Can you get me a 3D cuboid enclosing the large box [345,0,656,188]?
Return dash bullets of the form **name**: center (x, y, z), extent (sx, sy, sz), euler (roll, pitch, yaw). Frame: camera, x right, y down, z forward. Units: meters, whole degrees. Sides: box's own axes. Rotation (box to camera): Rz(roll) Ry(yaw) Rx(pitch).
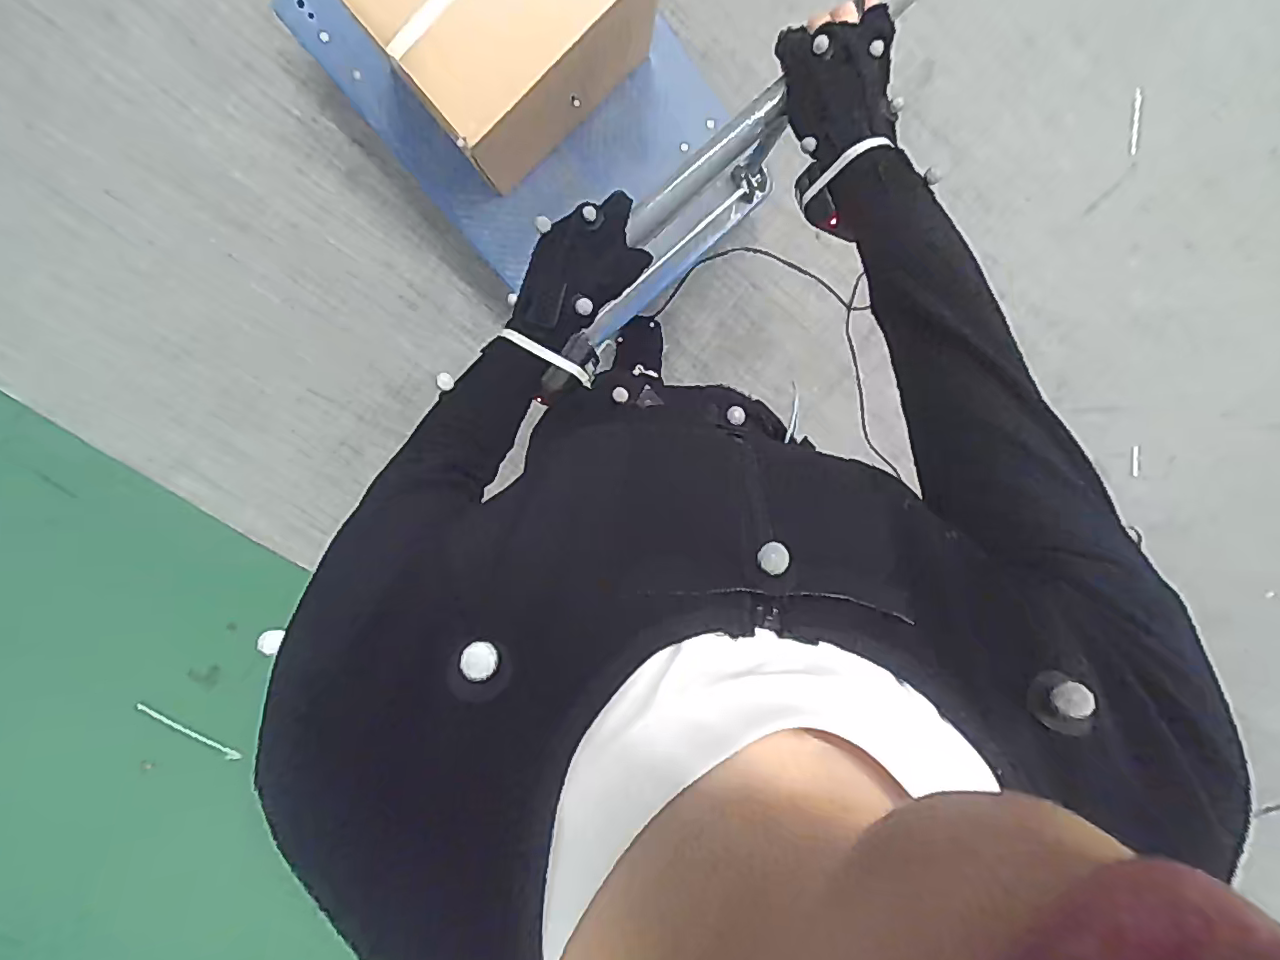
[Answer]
- **large box**: center (-0.215, -0.794, 0.917), extent (0.408, 0.320, 0.320), euler (-41, 104, 8)
